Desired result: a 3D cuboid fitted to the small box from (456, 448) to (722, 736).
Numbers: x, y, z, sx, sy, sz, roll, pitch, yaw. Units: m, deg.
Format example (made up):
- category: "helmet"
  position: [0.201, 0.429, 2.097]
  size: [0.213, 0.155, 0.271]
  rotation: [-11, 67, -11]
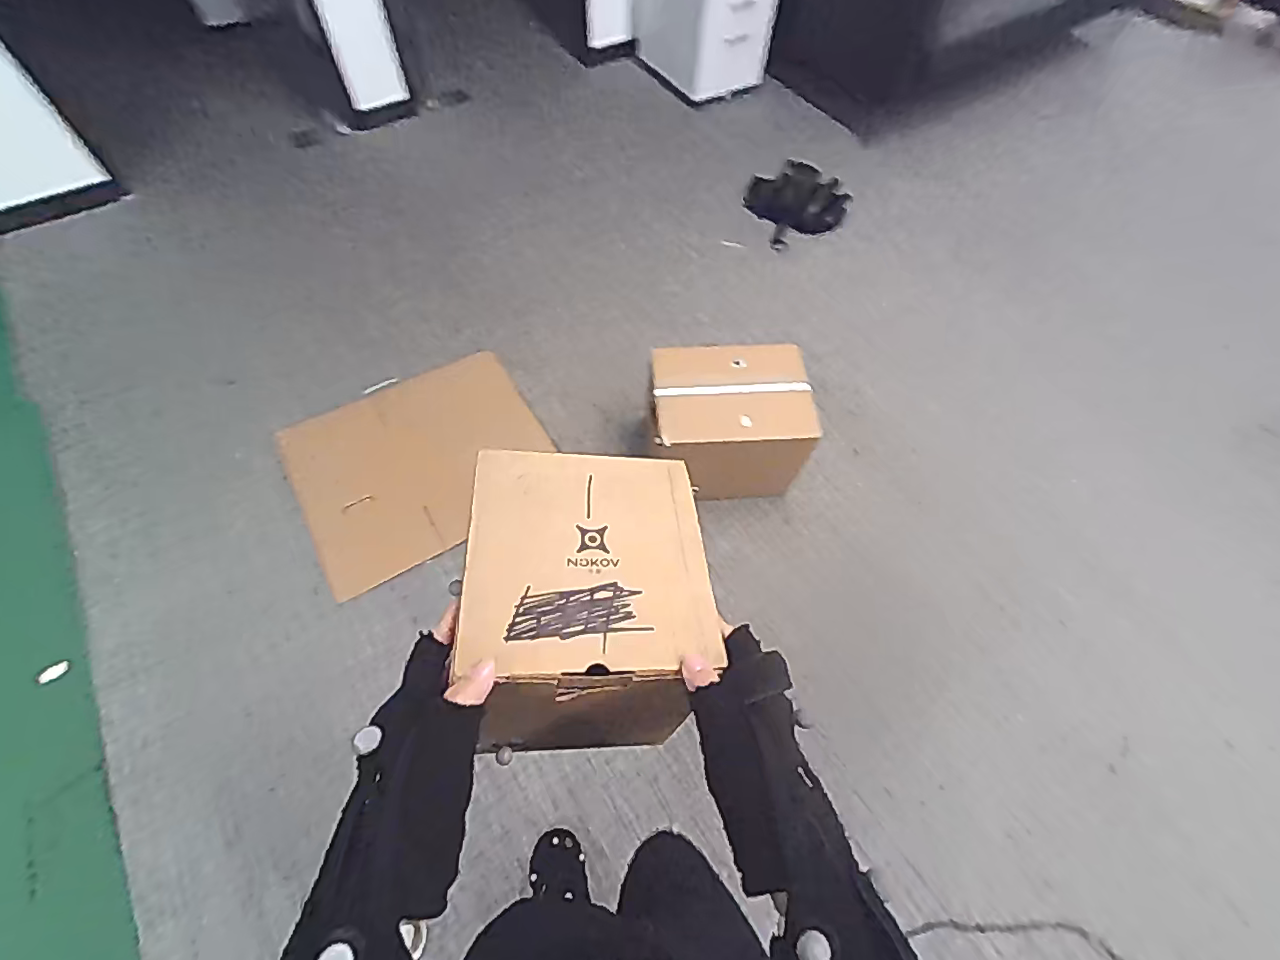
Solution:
- category: "small box"
  position: [-0.047, 0.097, 0.438]
  size: [0.168, 0.176, 0.179]
  rotation: [3, 49, -11]
